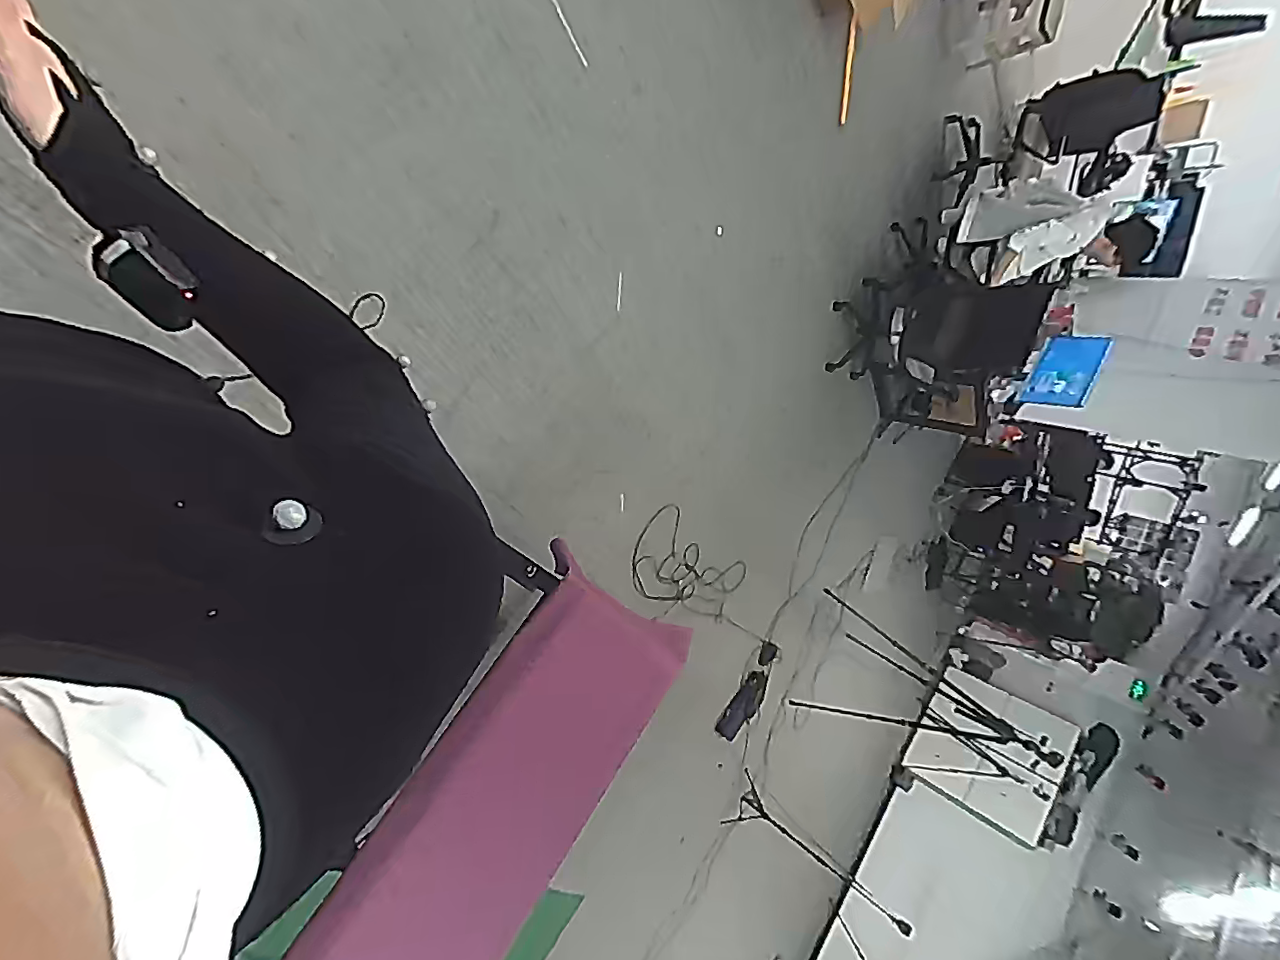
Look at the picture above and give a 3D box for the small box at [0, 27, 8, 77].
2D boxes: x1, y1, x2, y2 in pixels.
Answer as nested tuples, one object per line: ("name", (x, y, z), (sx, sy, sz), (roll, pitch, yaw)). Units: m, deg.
("small box", (-0.595, -0.417, 0.382), (0.168, 0.176, 0.179), (-14, 118, -43))
